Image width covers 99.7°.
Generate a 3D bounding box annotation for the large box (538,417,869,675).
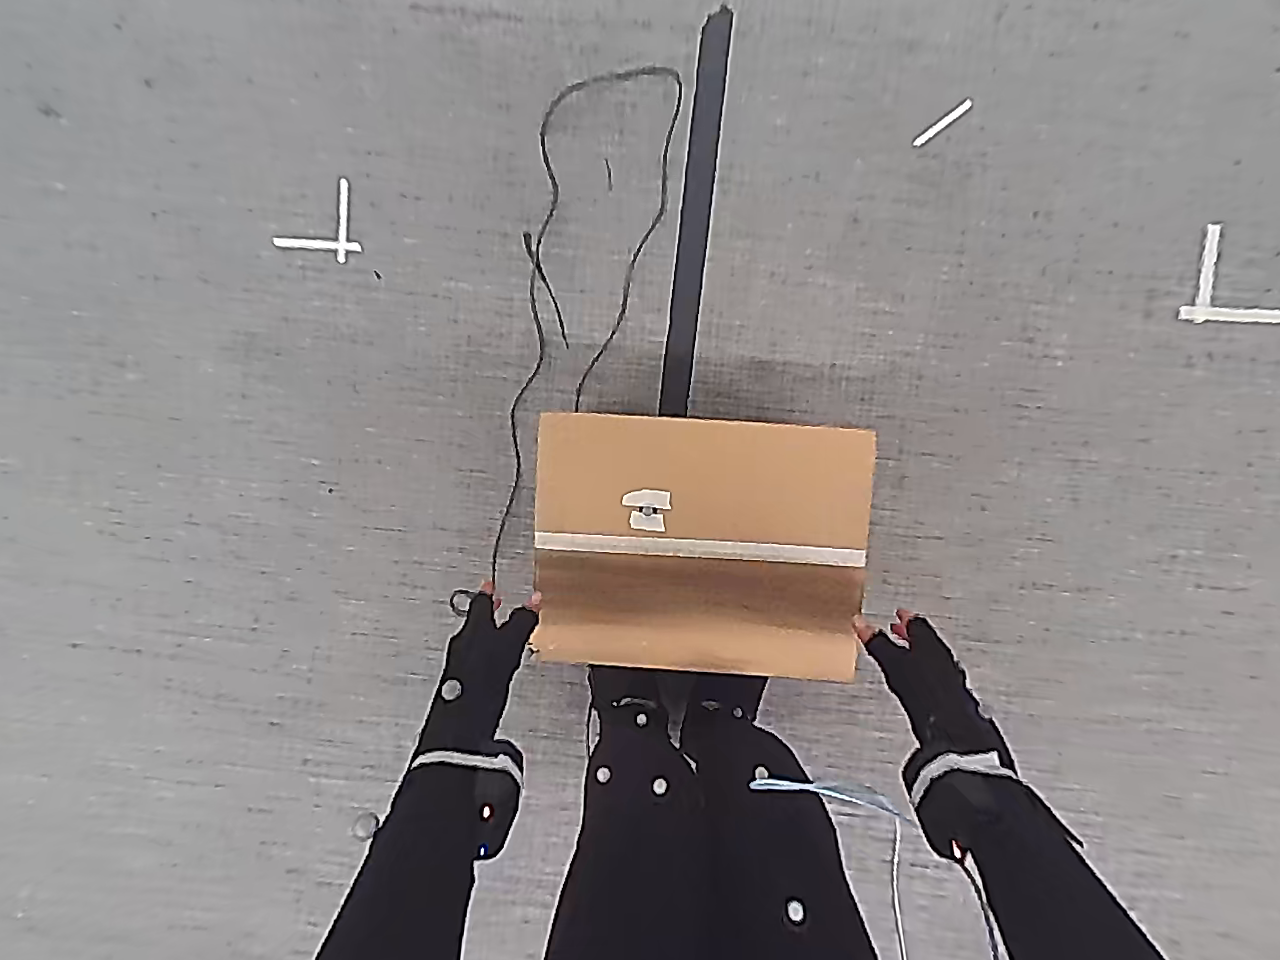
[{"bbox_3d":[0.082,0.070,0.821,0.408,0.320,0.320,4,95,2],"label":"large box"}]
